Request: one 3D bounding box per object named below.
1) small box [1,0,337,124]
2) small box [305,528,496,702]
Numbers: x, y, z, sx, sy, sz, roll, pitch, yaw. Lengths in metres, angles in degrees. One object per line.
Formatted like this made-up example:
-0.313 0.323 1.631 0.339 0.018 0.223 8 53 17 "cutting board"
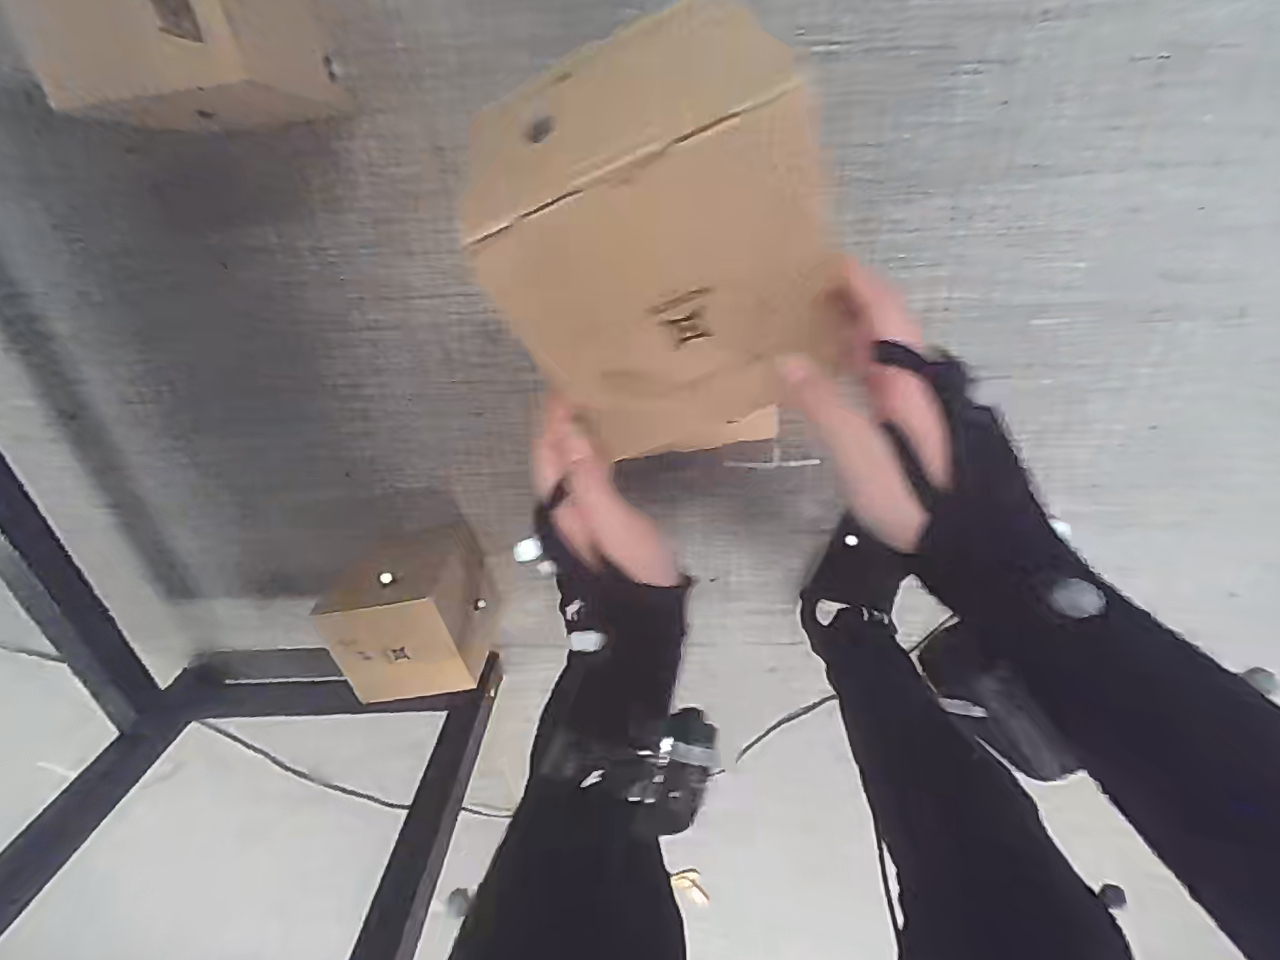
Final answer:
-0.397 -0.422 0.465 0.179 0.176 0.168 -4 117 5 "small box"
-0.321 0.186 0.776 0.179 0.176 0.168 -10 117 7 "small box"
